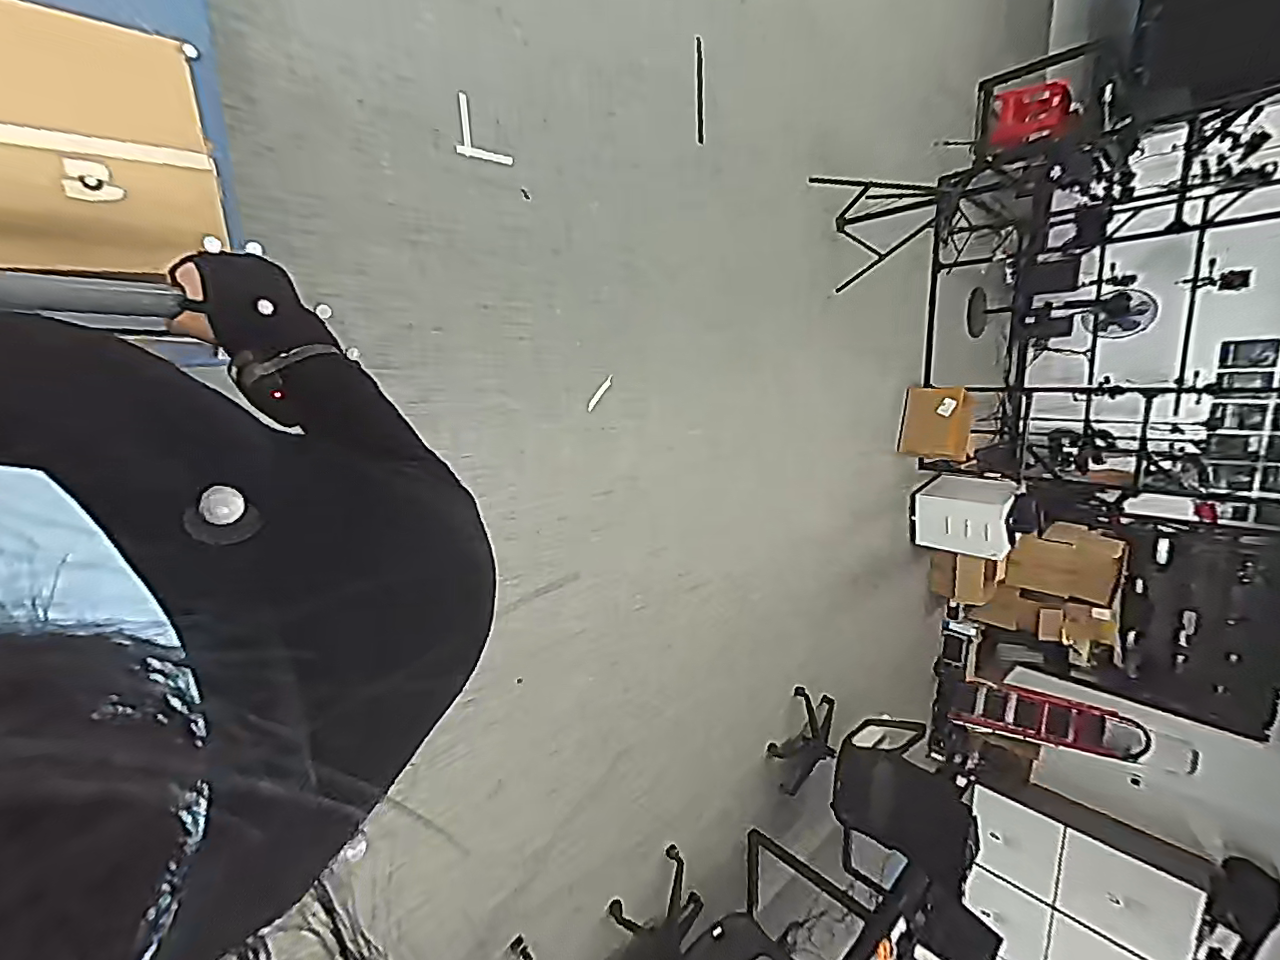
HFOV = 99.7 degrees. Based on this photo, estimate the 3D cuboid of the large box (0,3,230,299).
[{"bbox_3d":[-0.886,-0.437,0.770,0.408,0.320,0.320,-16,108,-42],"label":"large box"}]
